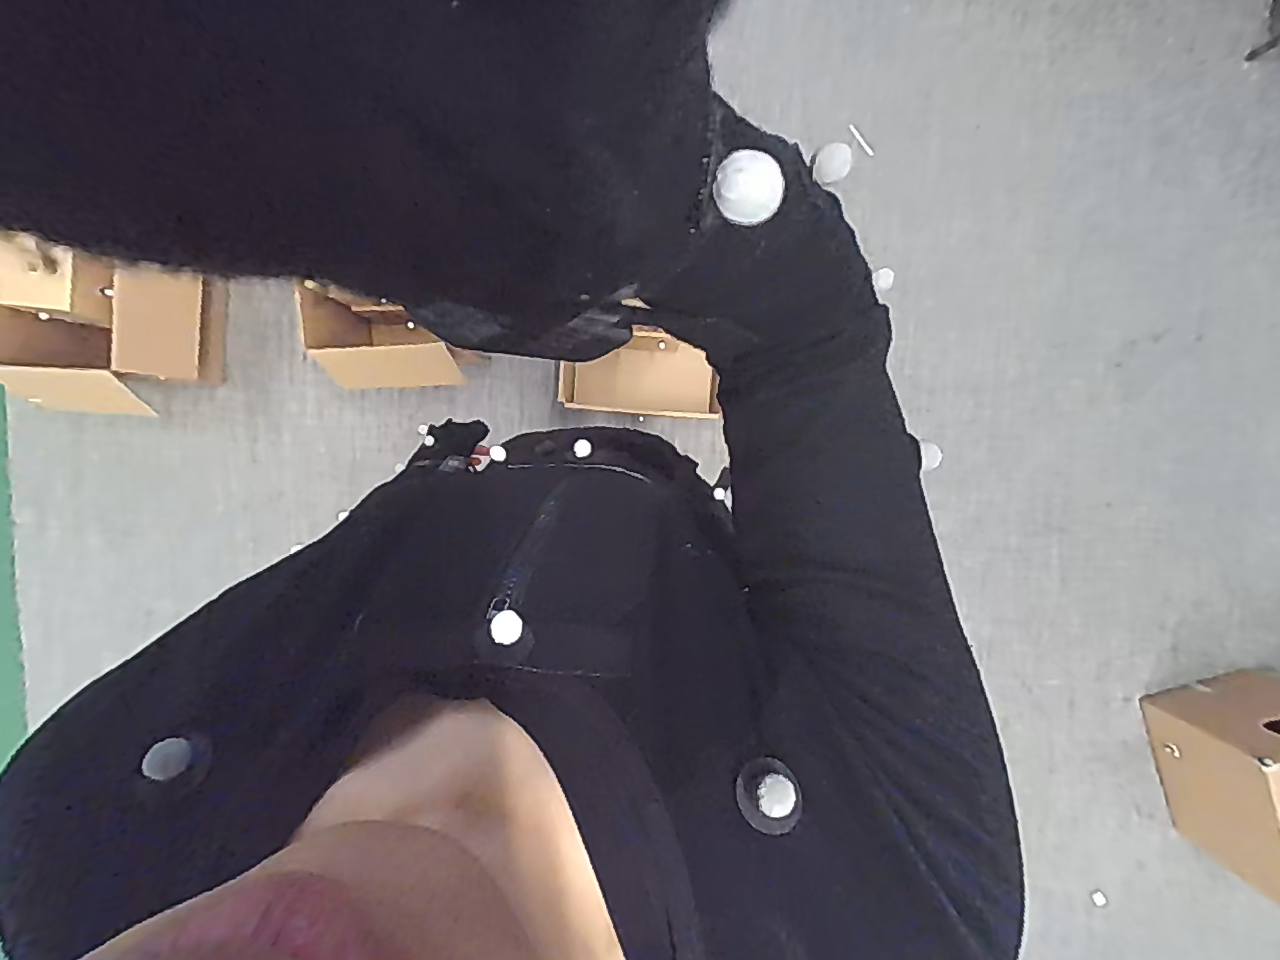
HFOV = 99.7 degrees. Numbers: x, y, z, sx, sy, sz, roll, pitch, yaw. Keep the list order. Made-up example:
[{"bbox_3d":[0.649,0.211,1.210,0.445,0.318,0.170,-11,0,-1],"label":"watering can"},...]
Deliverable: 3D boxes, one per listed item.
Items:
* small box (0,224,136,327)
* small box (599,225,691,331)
[{"bbox_3d":[-1.260,-0.439,1.181,0.179,0.176,0.168,5,93,-1],"label":"small box"},{"bbox_3d":[0.009,-0.421,1.153,0.179,0.176,0.168,3,92,-2],"label":"small box"}]
